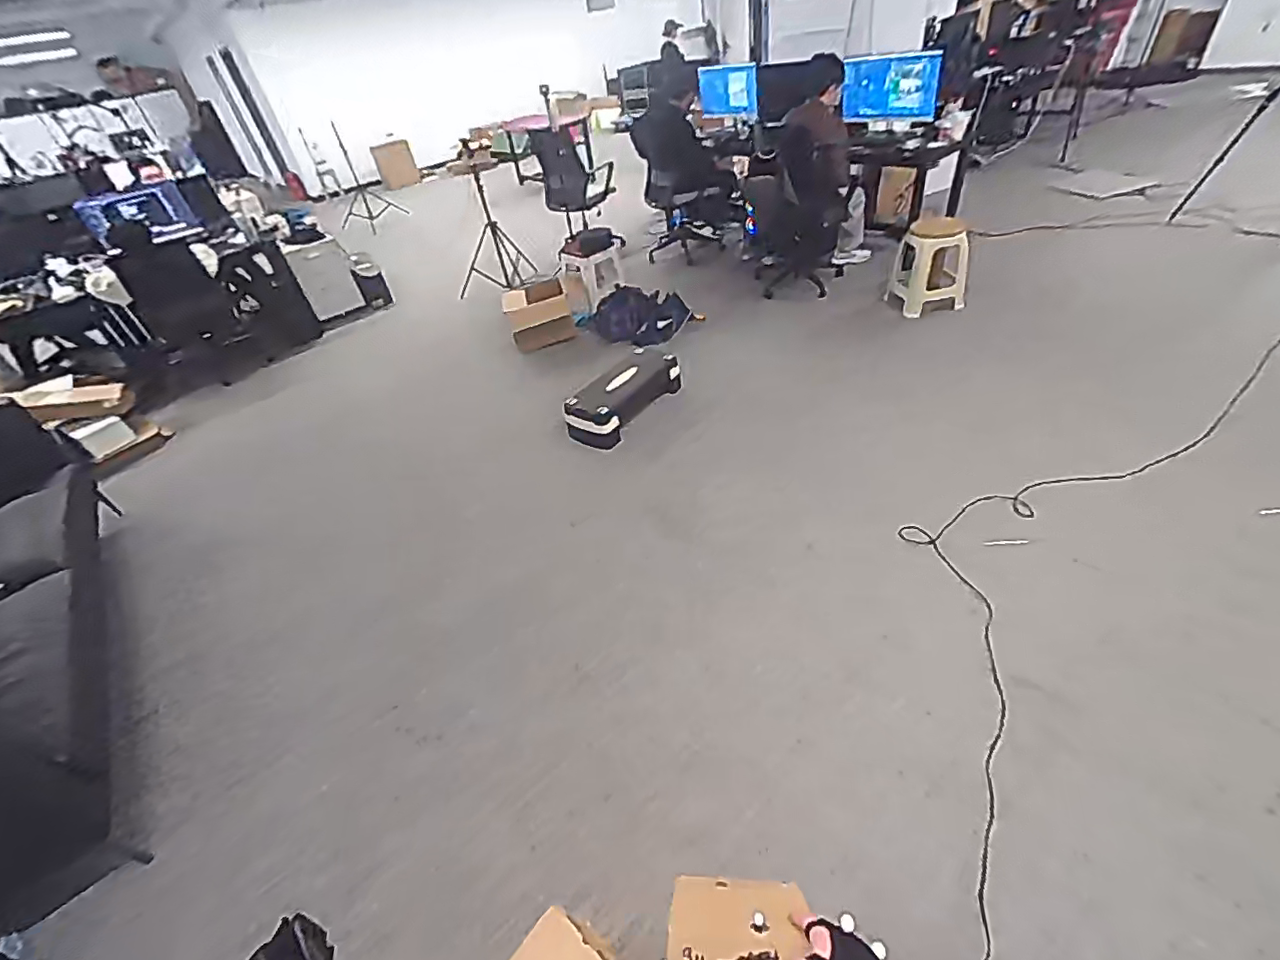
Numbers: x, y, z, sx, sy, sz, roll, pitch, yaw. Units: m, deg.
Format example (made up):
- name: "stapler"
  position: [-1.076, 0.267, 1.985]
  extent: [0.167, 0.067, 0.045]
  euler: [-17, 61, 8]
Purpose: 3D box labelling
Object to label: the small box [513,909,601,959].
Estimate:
- name: "small box"
  position: [-0.129, 0.862, 0.878]
  extent: [0.168, 0.176, 0.179]
  euler: [21, 50, 37]
